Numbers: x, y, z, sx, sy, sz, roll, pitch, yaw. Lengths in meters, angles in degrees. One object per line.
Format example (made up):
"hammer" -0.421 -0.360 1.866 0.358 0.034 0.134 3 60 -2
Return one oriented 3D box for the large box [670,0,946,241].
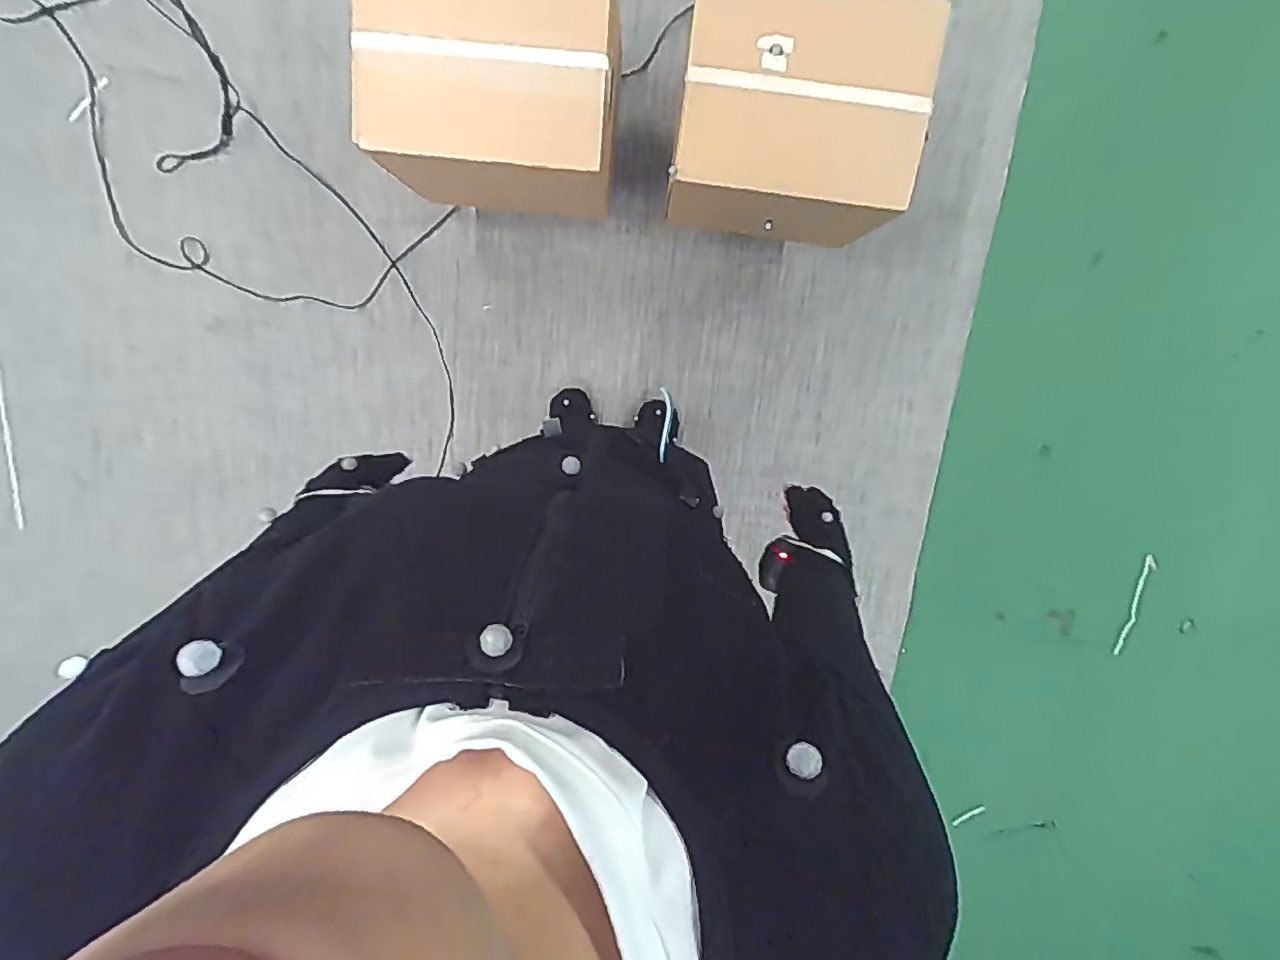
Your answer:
"large box" 0.280 -0.669 1.037 0.408 0.320 0.320 7 102 -1
